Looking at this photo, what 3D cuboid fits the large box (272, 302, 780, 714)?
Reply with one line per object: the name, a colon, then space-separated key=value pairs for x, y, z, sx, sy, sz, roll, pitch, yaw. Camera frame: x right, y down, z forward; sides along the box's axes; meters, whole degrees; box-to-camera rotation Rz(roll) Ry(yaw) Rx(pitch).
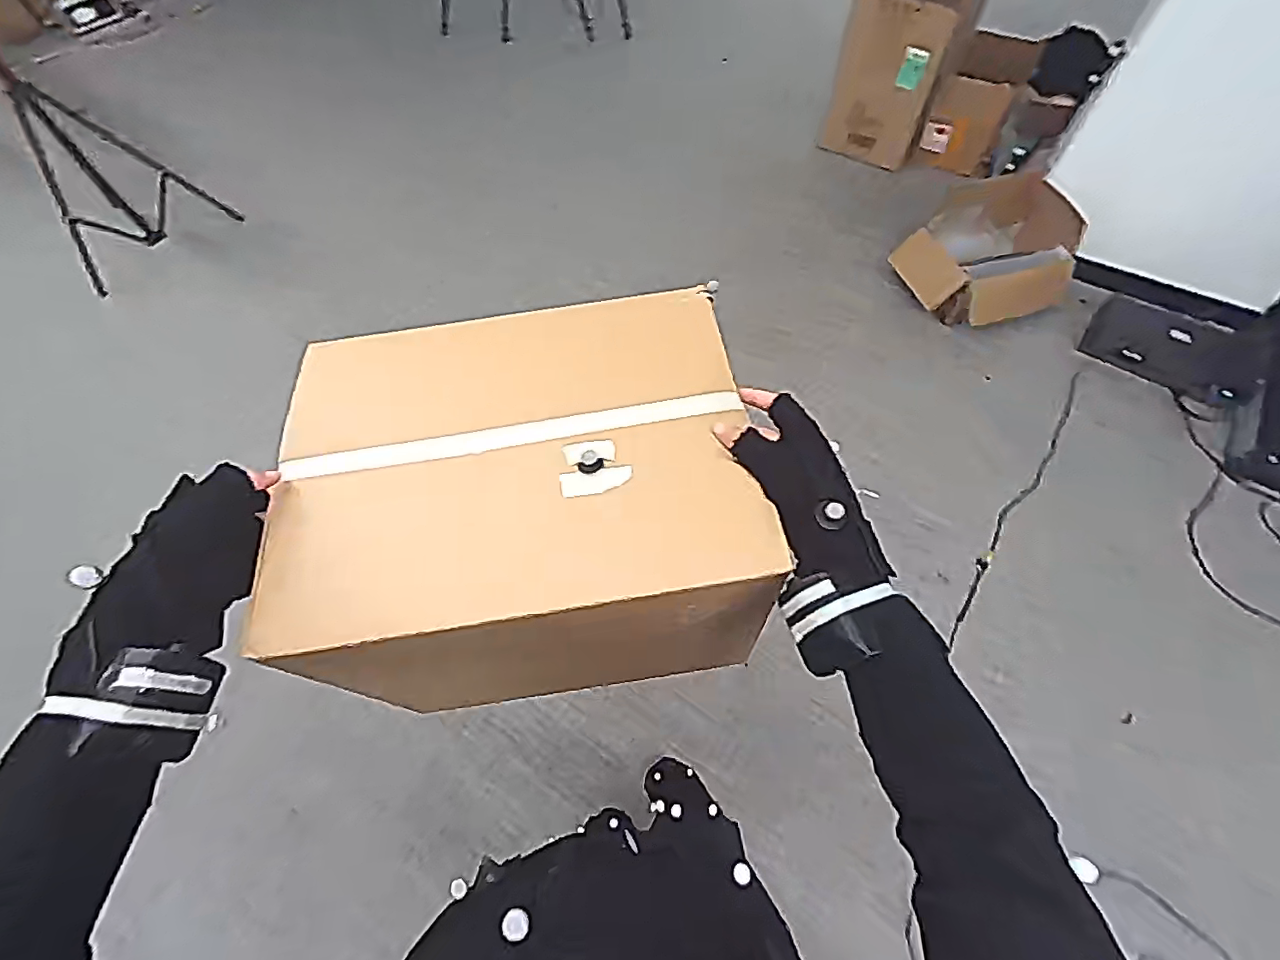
large box: x=-0.101 y=0.049 z=0.616 sx=0.408 sy=0.320 sz=0.320 roll=-10 pitch=60 yaw=-2
